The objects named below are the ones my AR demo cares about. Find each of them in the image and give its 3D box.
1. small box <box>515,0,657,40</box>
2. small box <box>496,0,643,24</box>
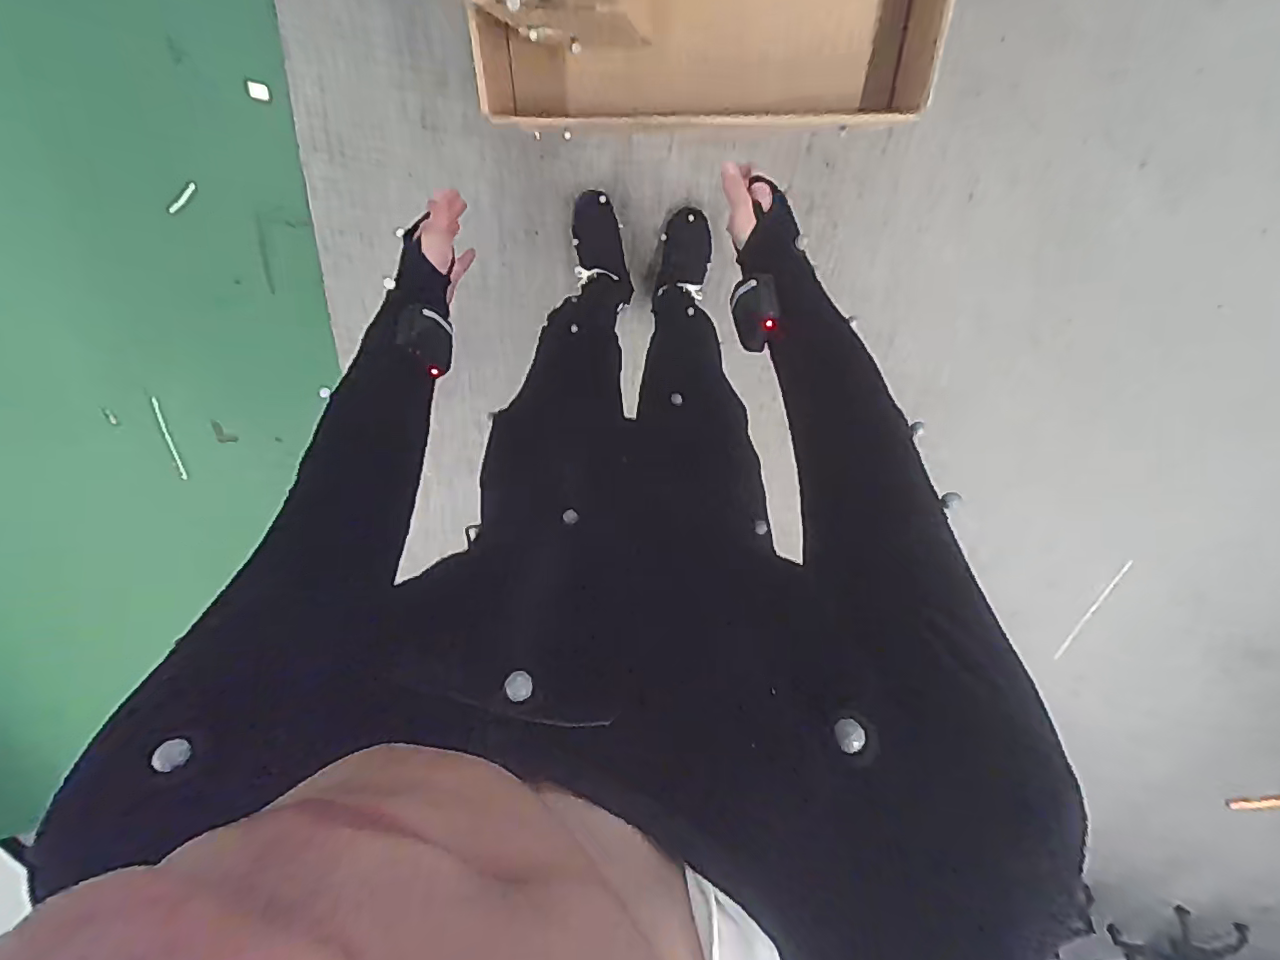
[{"bbox_3d":[-0.065,-0.682,0.690,0.168,0.176,0.179,3,123,4],"label":"small box"},{"bbox_3d":[-0.079,-0.594,0.553,0.168,0.176,0.179,6,122,2],"label":"small box"}]
